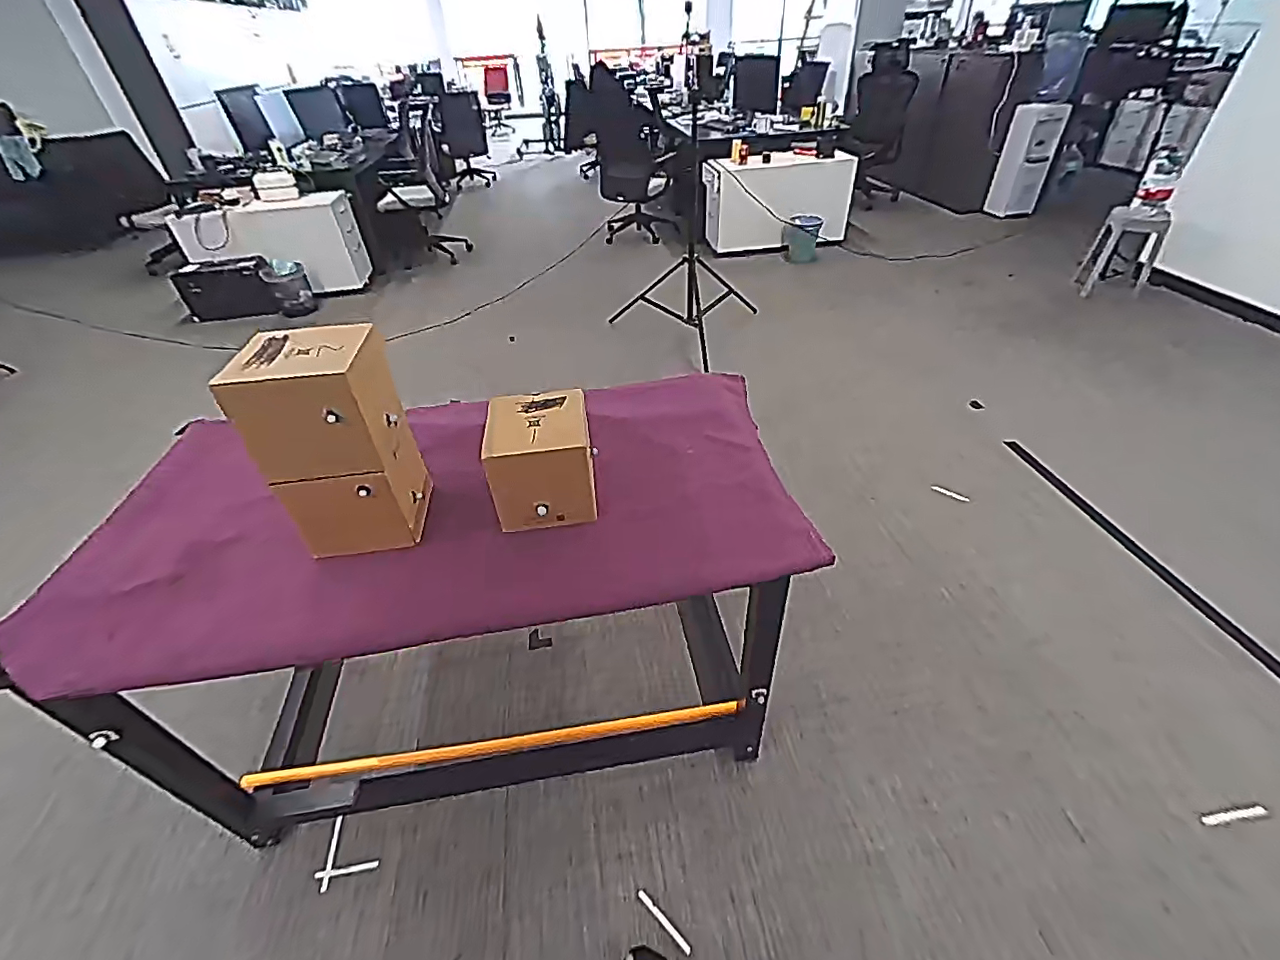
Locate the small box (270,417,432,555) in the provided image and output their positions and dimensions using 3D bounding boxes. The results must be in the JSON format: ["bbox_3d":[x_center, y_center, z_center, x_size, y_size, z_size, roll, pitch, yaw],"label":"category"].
[{"bbox_3d":[-0.478,0.013,0.928,0.179,0.176,0.168,-7,39,-5],"label":"small box"}]

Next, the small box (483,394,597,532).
[{"bbox_3d":[-0.168,-0.031,0.955,0.168,0.176,0.179,-6,40,-3],"label":"small box"}]
